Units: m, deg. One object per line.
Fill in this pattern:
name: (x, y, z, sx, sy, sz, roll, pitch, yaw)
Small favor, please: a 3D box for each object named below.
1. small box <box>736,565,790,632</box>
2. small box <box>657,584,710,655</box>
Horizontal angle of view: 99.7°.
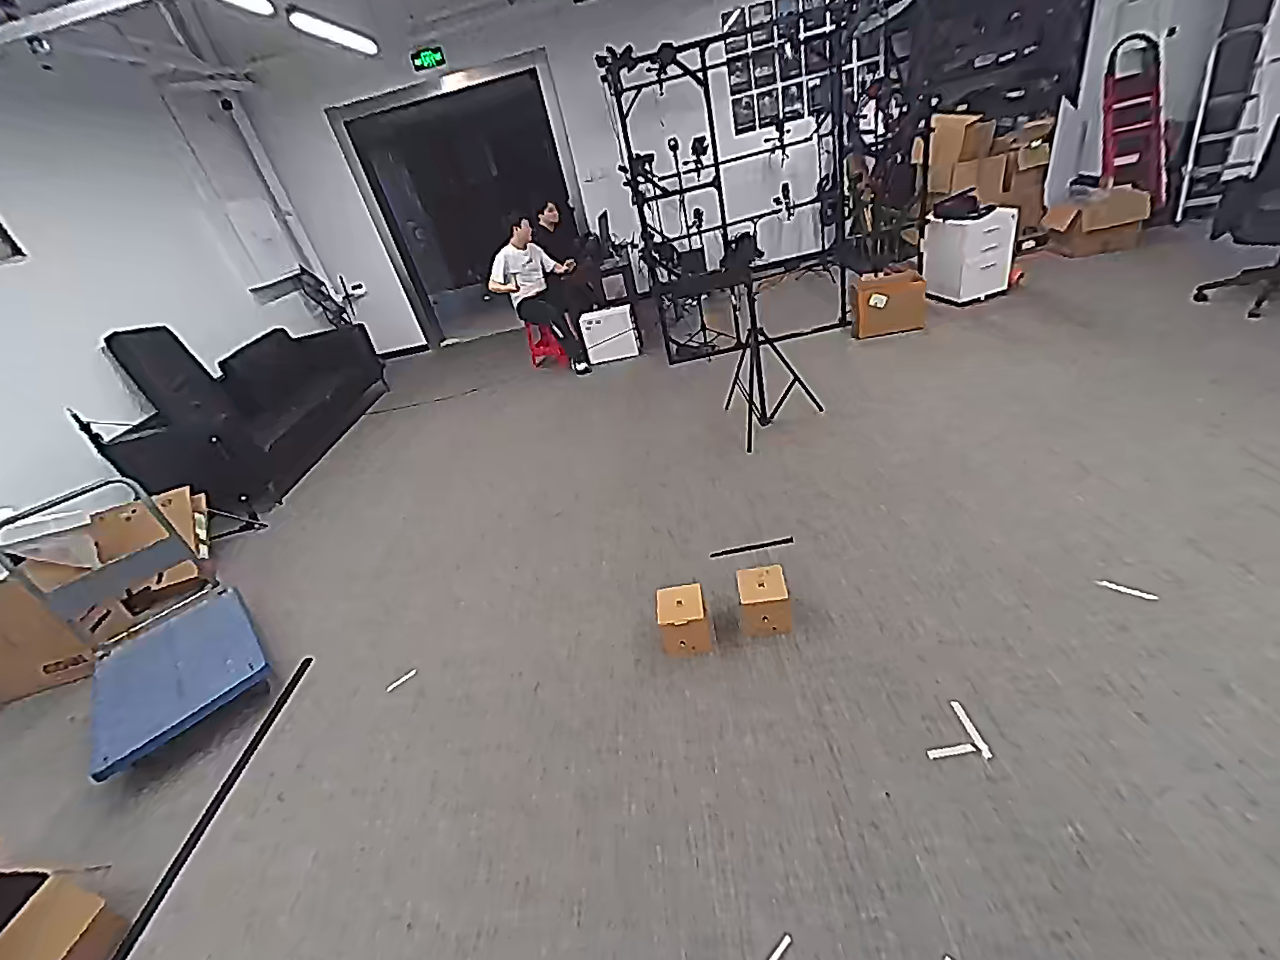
small box: (0.448, 0.437, 1.971, 0.168, 0.176, 0.179, -9, 31, 9)
small box: (0.159, 0.511, 1.983, 0.168, 0.176, 0.179, -11, 31, 7)
